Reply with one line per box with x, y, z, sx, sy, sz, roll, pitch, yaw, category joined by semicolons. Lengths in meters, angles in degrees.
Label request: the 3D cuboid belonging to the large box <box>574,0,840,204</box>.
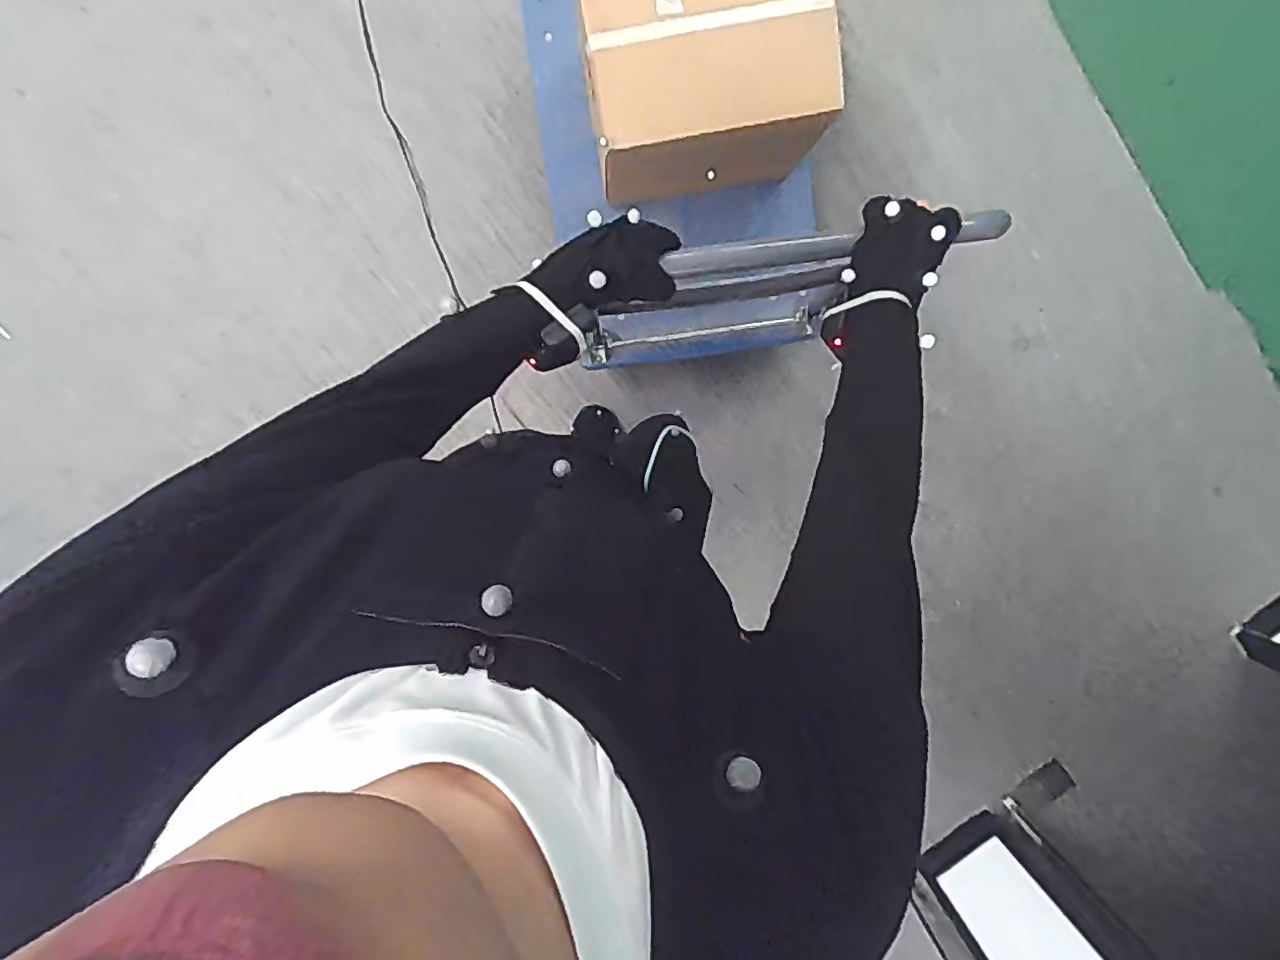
0.107;-0.761;1.018;0.408;0.320;0.320;-11;100;0;large box
